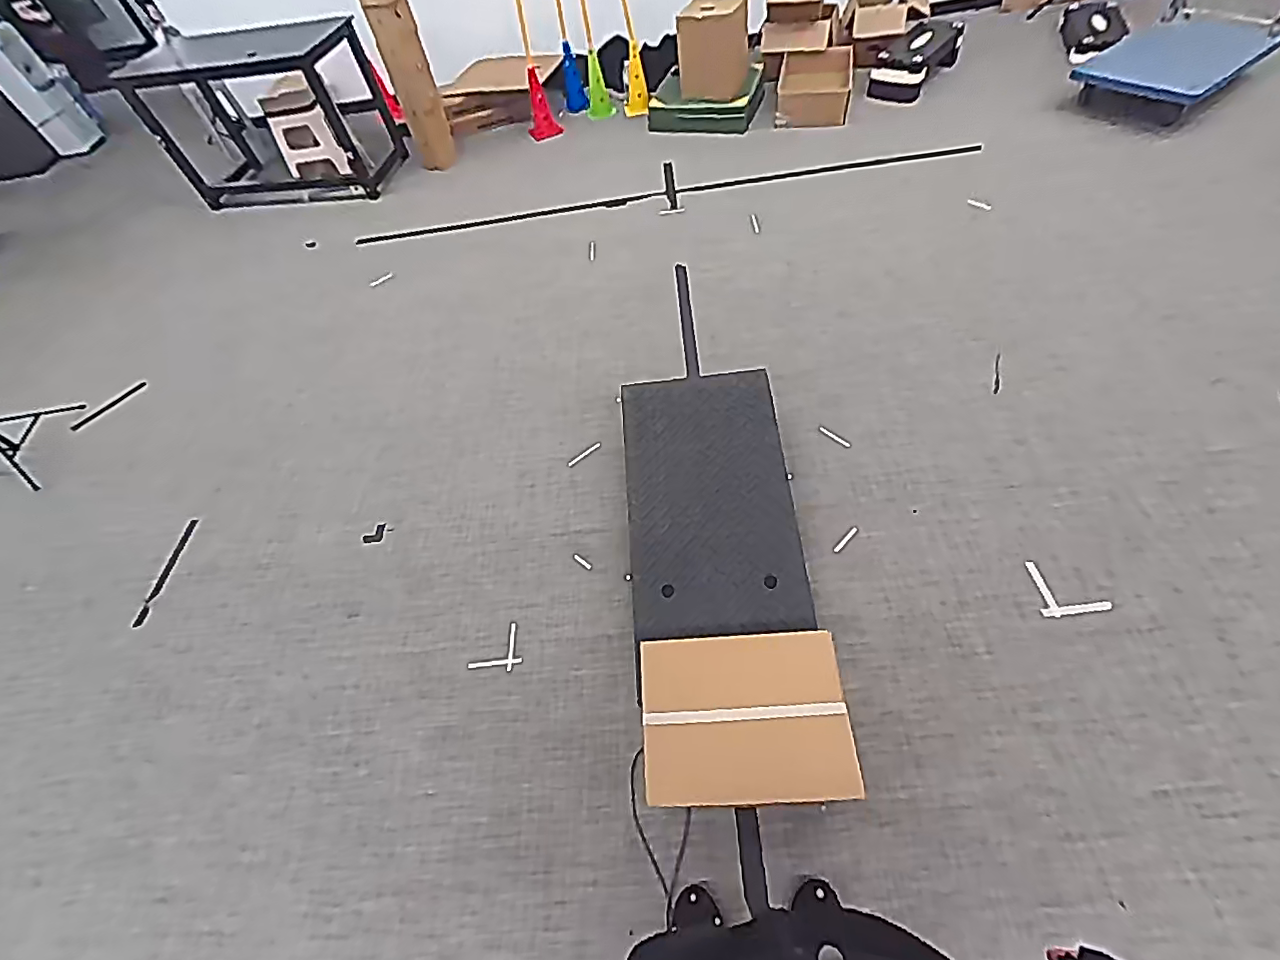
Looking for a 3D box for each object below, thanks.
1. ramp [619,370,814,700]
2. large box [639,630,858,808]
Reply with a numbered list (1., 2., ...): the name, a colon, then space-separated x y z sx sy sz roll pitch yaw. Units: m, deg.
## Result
1. ramp: 0.202 0.107 1.609 0.509 0.206 0.991 -6 55 2
2. large box: 0.218 0.545 1.214 0.408 0.320 0.320 -5 58 4
